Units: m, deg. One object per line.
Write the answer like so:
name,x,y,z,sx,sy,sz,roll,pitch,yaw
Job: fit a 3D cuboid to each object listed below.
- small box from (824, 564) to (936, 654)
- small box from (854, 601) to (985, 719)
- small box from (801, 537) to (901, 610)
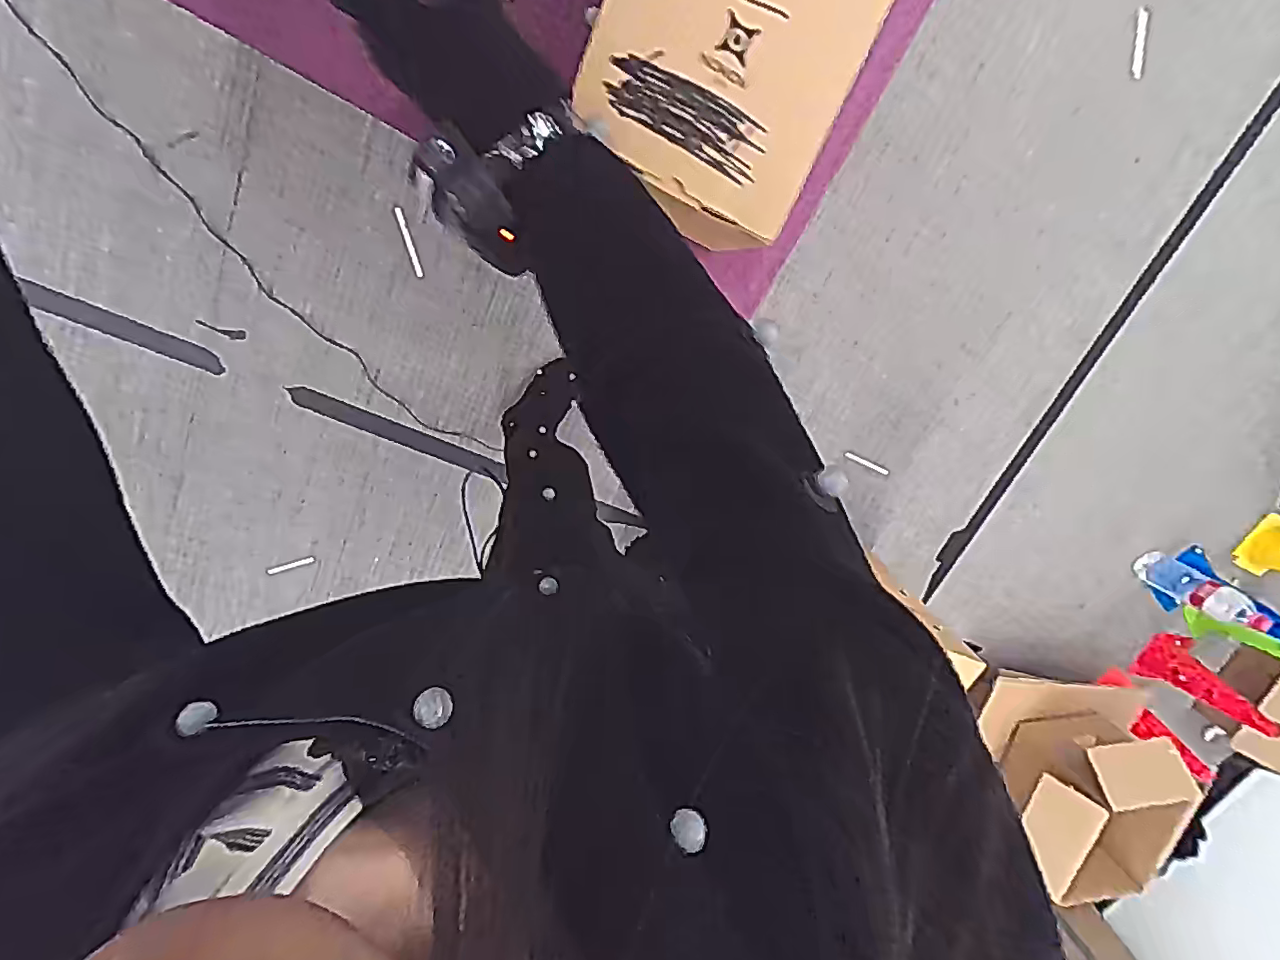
small box,0.611,0.347,1.406,0.168,0.176,0.179,22,109,-17
small box,0.636,0.411,1.256,0.168,0.176,0.179,22,109,-17
small box,0.597,0.284,1.555,0.179,0.176,0.168,20,109,-18
